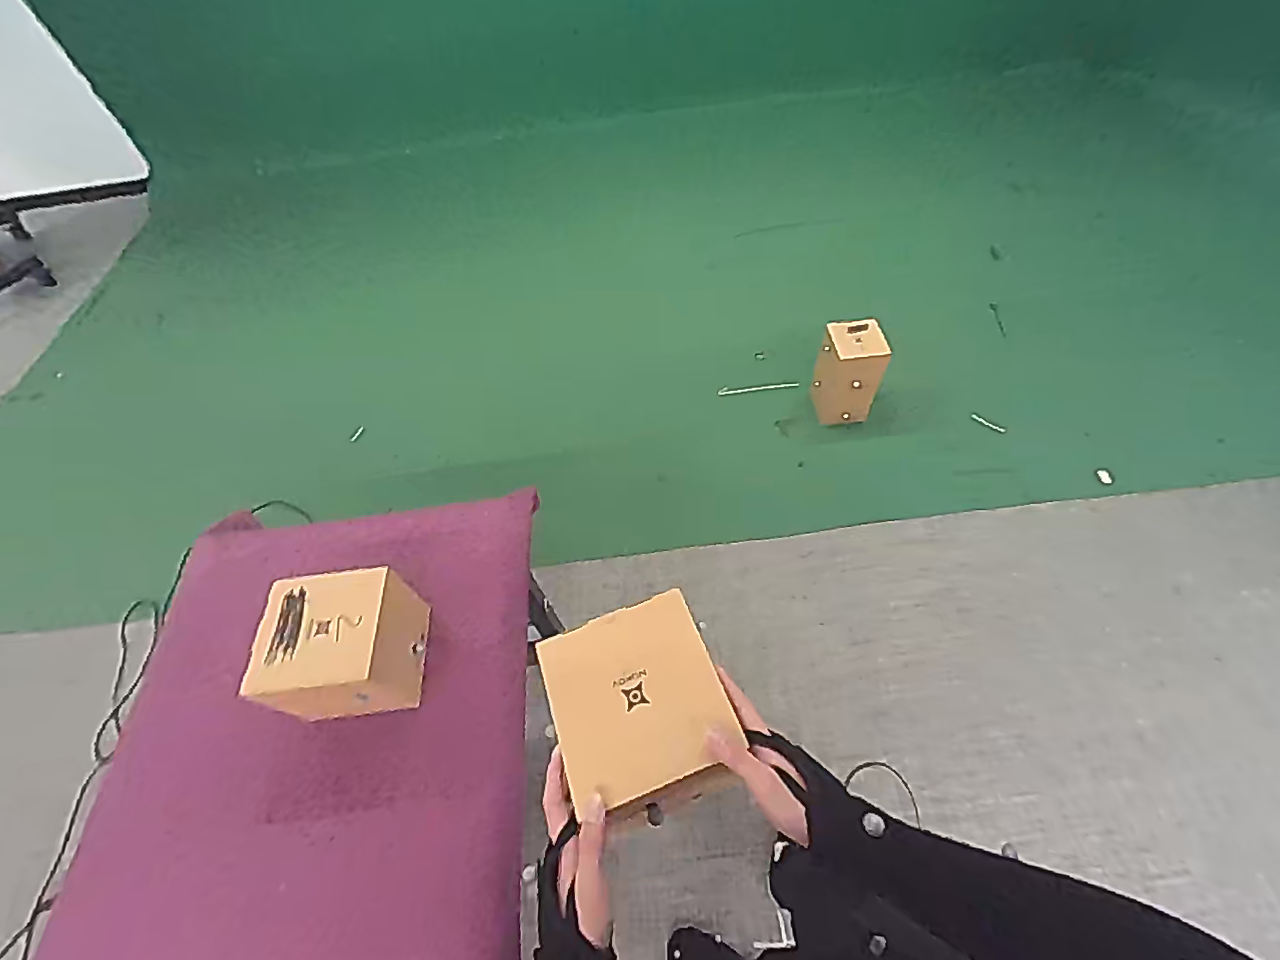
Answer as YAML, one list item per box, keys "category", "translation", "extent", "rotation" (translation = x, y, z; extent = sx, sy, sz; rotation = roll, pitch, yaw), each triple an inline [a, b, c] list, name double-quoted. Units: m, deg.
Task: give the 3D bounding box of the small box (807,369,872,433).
- category: "small box"
  translation: [0.726, -0.294, 1.988]
  extent: [0.168, 0.176, 0.179]
  rotation: [-6, 55, 1]

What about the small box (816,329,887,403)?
- category: "small box"
  translation: [0.716, -0.389, 1.854]
  extent: [0.168, 0.176, 0.179]
  rotation: [-6, 55, 1]

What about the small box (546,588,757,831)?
- category: "small box"
  translation: [0.015, 0.253, 0.583]
  extent: [0.168, 0.176, 0.179]
  rotation: [-20, 50, -6]
